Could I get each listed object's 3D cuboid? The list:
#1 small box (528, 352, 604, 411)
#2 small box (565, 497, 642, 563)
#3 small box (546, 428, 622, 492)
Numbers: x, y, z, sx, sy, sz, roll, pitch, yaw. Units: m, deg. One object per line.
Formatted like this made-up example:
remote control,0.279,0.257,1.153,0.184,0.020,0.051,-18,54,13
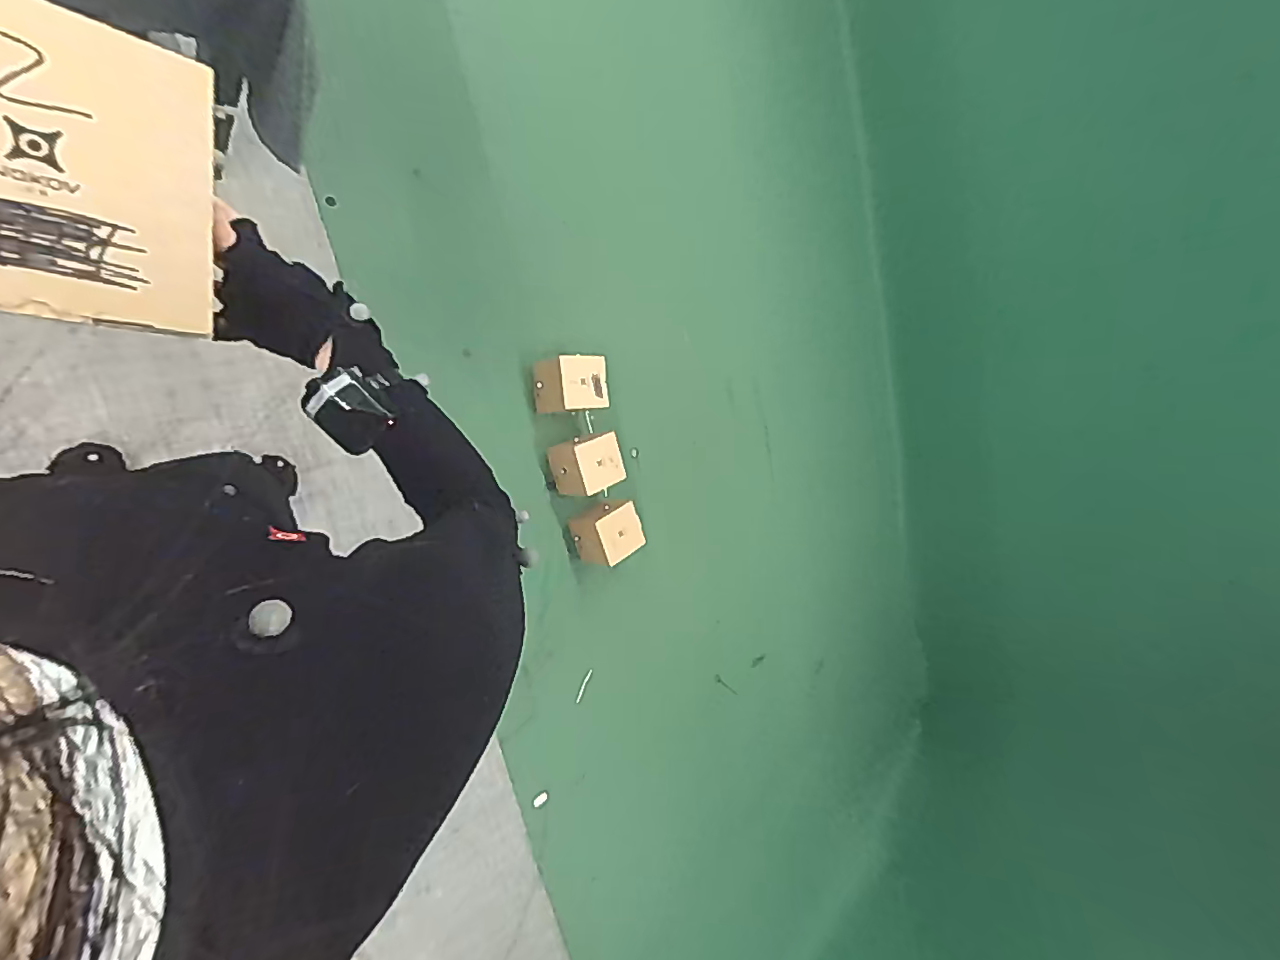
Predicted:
small box,-0.239,-0.316,1.750,0.179,0.176,0.168,-10,97,-41
small box,-0.128,0.165,1.860,0.179,0.176,0.168,-31,111,-39
small box,-0.192,-0.066,1.795,0.179,0.176,0.168,-27,109,-40
